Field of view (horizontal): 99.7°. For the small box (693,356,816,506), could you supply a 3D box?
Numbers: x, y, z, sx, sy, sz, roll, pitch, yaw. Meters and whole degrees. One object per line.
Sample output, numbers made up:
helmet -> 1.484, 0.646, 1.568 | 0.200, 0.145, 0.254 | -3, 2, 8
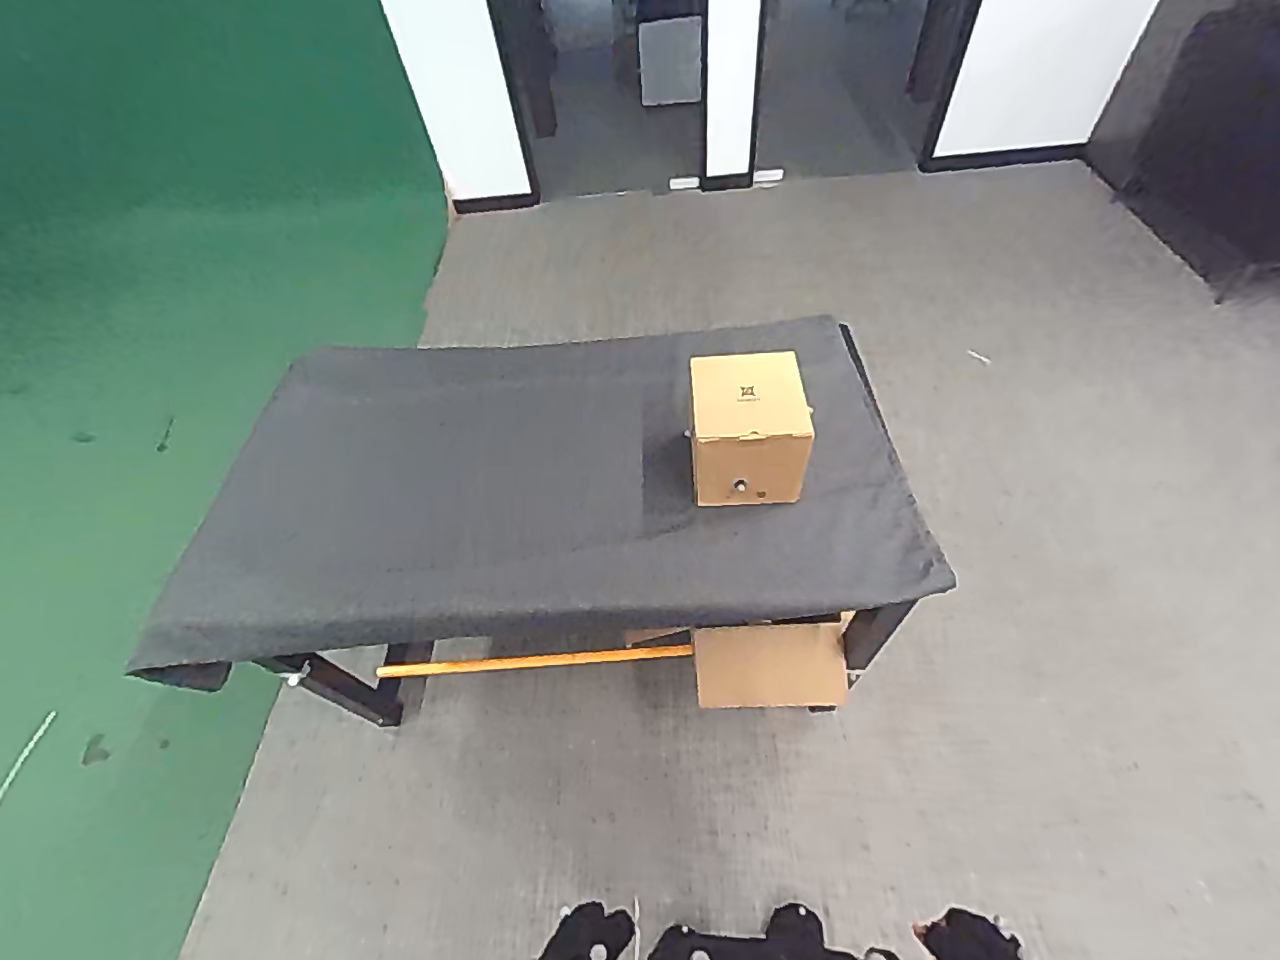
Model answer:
small box -> 0.170, -0.076, 0.867 | 0.168, 0.176, 0.179 | -3, 53, 4
